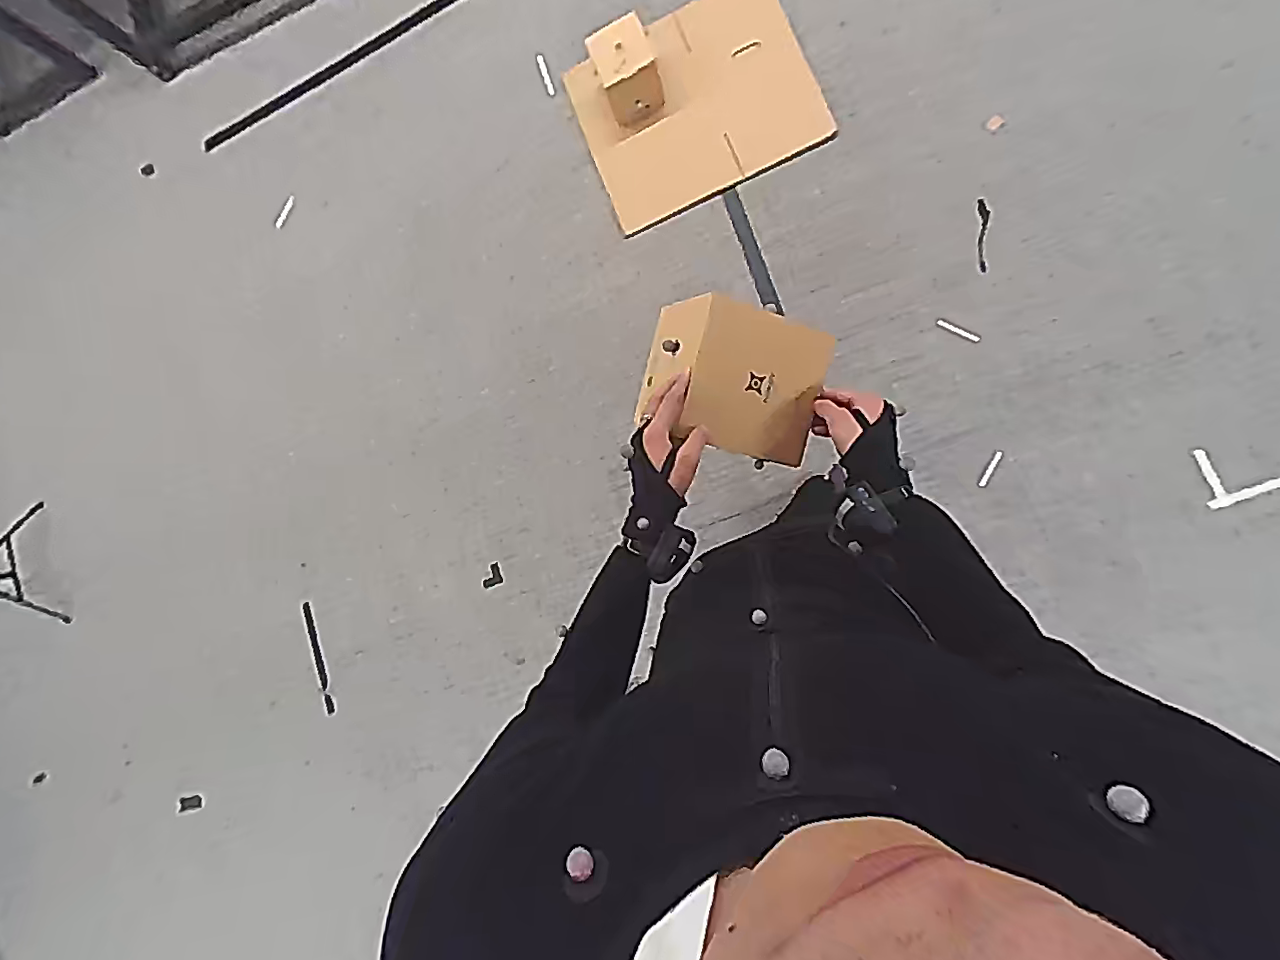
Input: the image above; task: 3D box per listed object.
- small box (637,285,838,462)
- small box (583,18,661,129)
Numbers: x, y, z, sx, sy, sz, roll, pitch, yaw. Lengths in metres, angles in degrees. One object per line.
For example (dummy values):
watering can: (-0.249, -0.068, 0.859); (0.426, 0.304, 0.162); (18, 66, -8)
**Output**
small box: (0.112, -0.132, 0.698); (0.179, 0.176, 0.168); (13, 98, -21)
small box: (-0.051, -1.232, 1.652); (0.168, 0.176, 0.179); (-23, 83, 11)
